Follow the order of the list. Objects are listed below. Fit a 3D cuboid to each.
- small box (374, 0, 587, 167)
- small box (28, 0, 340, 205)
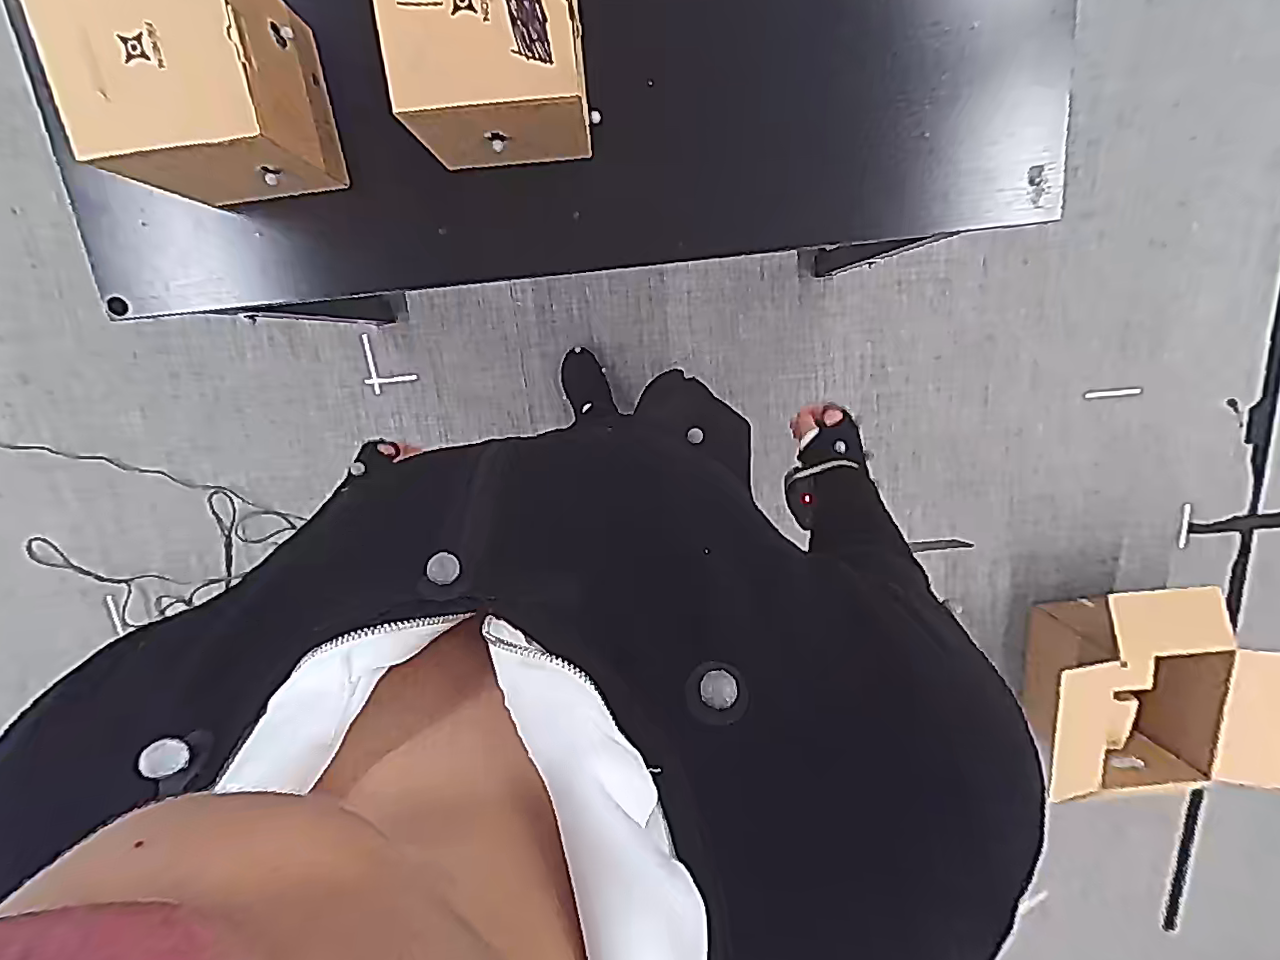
[{"bbox_3d":[-0.150,-0.442,0.556,0.179,0.176,0.168,-5,104,0],"label":"small box"},{"bbox_3d":[-0.442,-0.402,0.558,0.179,0.176,0.168,-8,103,1],"label":"small box"}]
